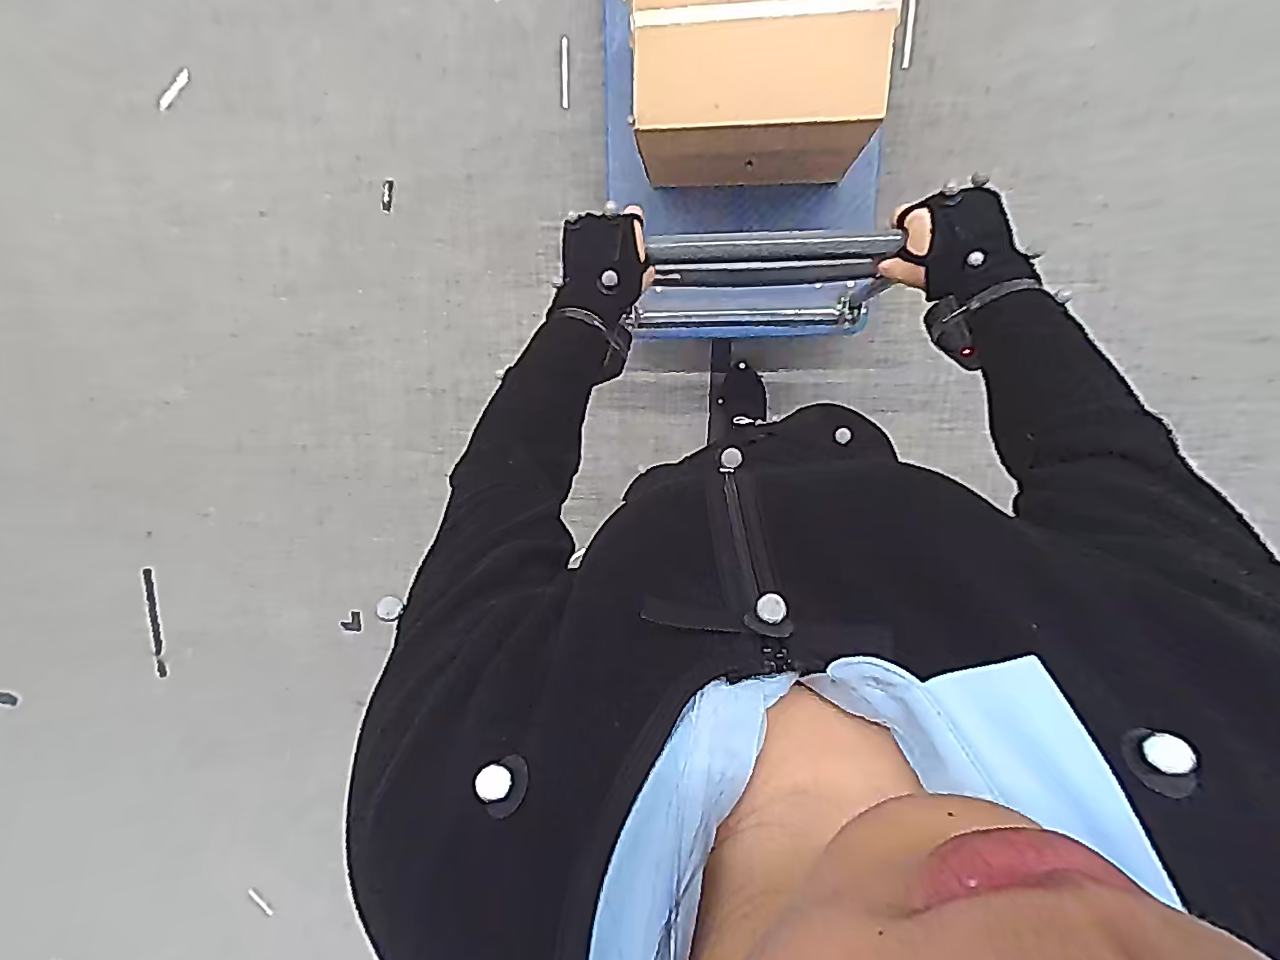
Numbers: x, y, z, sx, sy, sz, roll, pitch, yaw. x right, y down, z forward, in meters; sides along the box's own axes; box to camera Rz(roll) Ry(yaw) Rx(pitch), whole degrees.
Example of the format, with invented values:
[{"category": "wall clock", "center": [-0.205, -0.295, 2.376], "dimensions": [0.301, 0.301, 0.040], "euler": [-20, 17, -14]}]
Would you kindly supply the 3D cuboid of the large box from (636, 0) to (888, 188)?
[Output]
[{"category": "large box", "center": [0.212, -0.765, 1.010], "dimensions": [0.408, 0.320, 0.320], "euler": [1, 101, 8]}]
